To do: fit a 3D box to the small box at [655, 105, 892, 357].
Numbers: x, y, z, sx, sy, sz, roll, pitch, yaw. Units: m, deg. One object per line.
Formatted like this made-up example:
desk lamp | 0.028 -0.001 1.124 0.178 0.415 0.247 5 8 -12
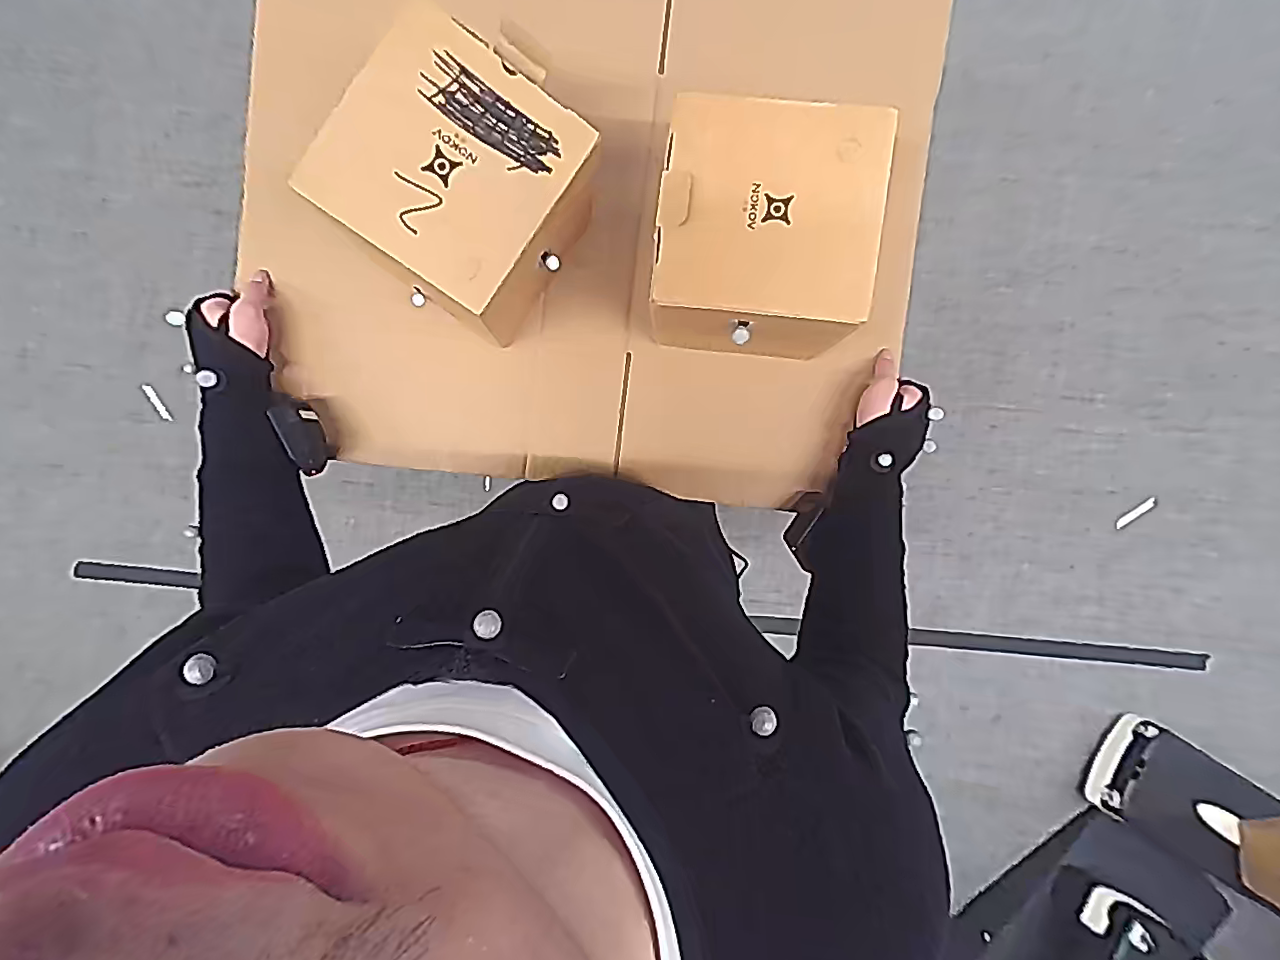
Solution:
small box | 0.113 -0.220 0.522 0.179 0.176 0.168 7 93 4
